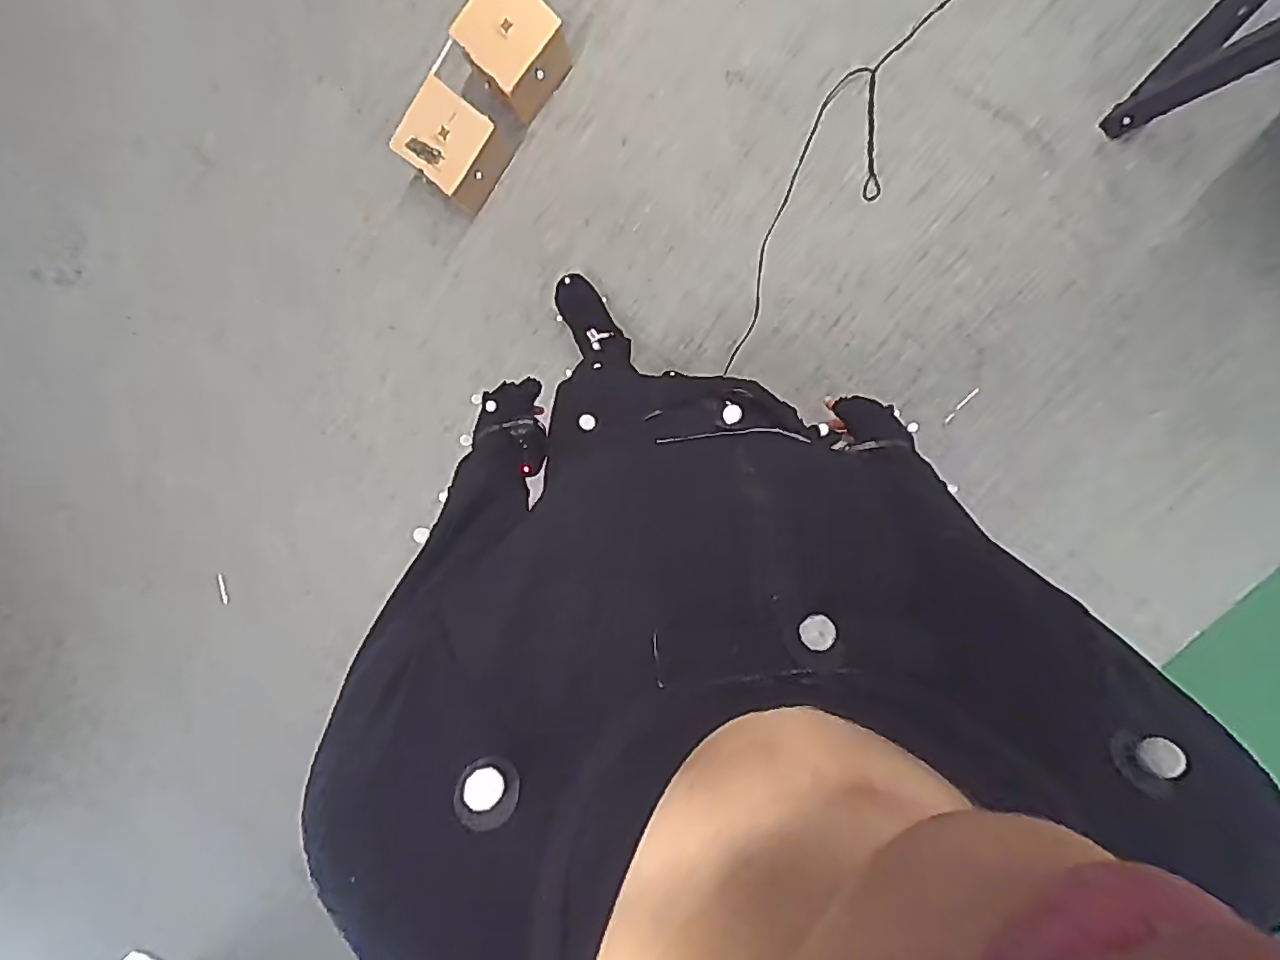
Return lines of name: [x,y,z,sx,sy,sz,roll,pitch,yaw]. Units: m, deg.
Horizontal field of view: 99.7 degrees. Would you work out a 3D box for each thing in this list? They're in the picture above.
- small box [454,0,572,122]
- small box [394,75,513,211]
small box: [-0.264,-0.938,1.178,0.168,0.176,0.179,42,103,-8]
small box: [-0.412,-0.749,1.229,0.168,0.176,0.179,37,101,-7]
